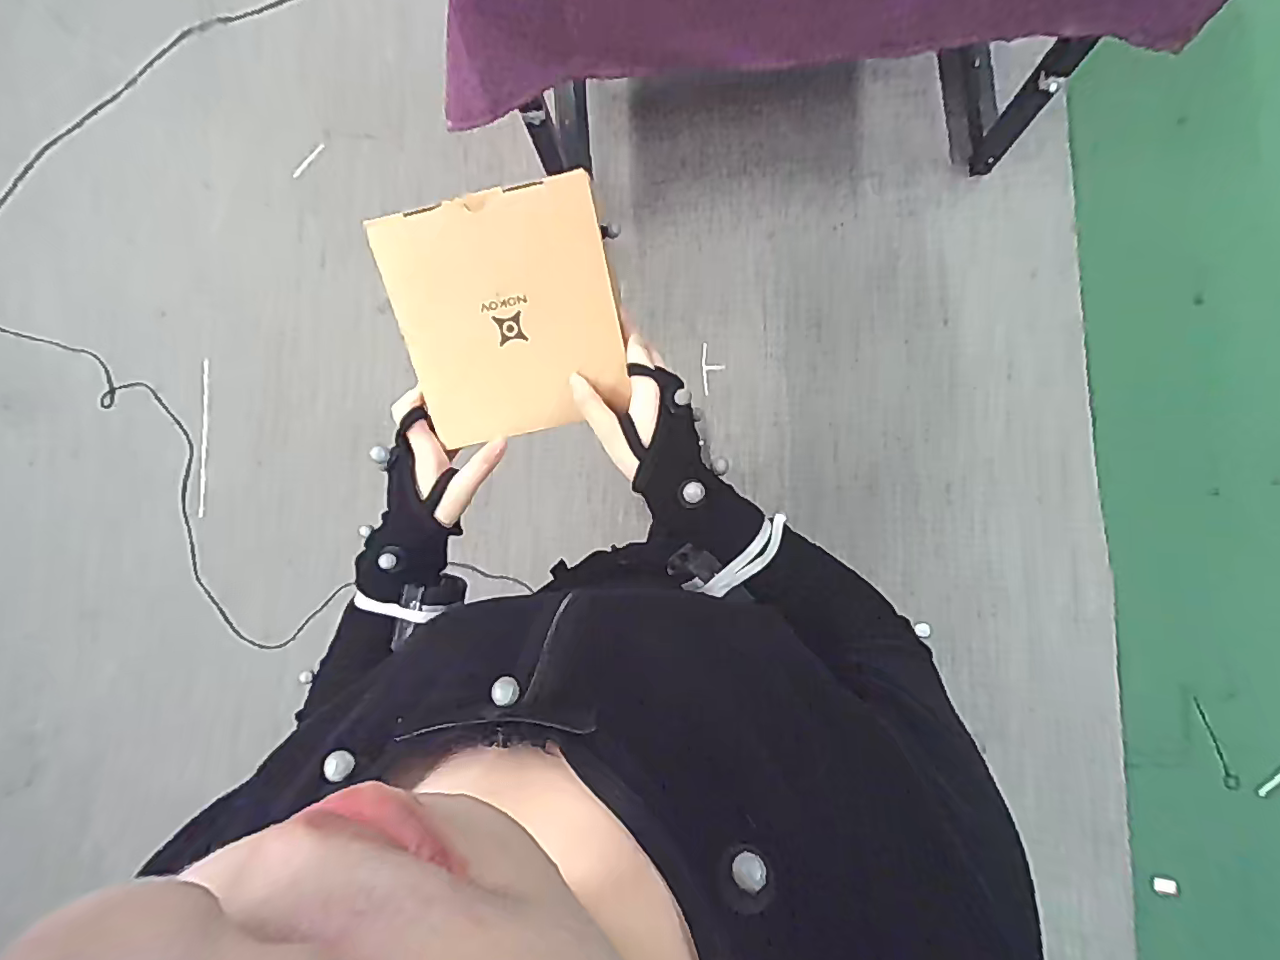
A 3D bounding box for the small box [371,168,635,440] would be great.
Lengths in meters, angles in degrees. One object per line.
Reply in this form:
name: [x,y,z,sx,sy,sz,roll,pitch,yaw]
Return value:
small box: [-0.099,-0.155,0.488,0.168,0.176,0.179,-12,111,4]
